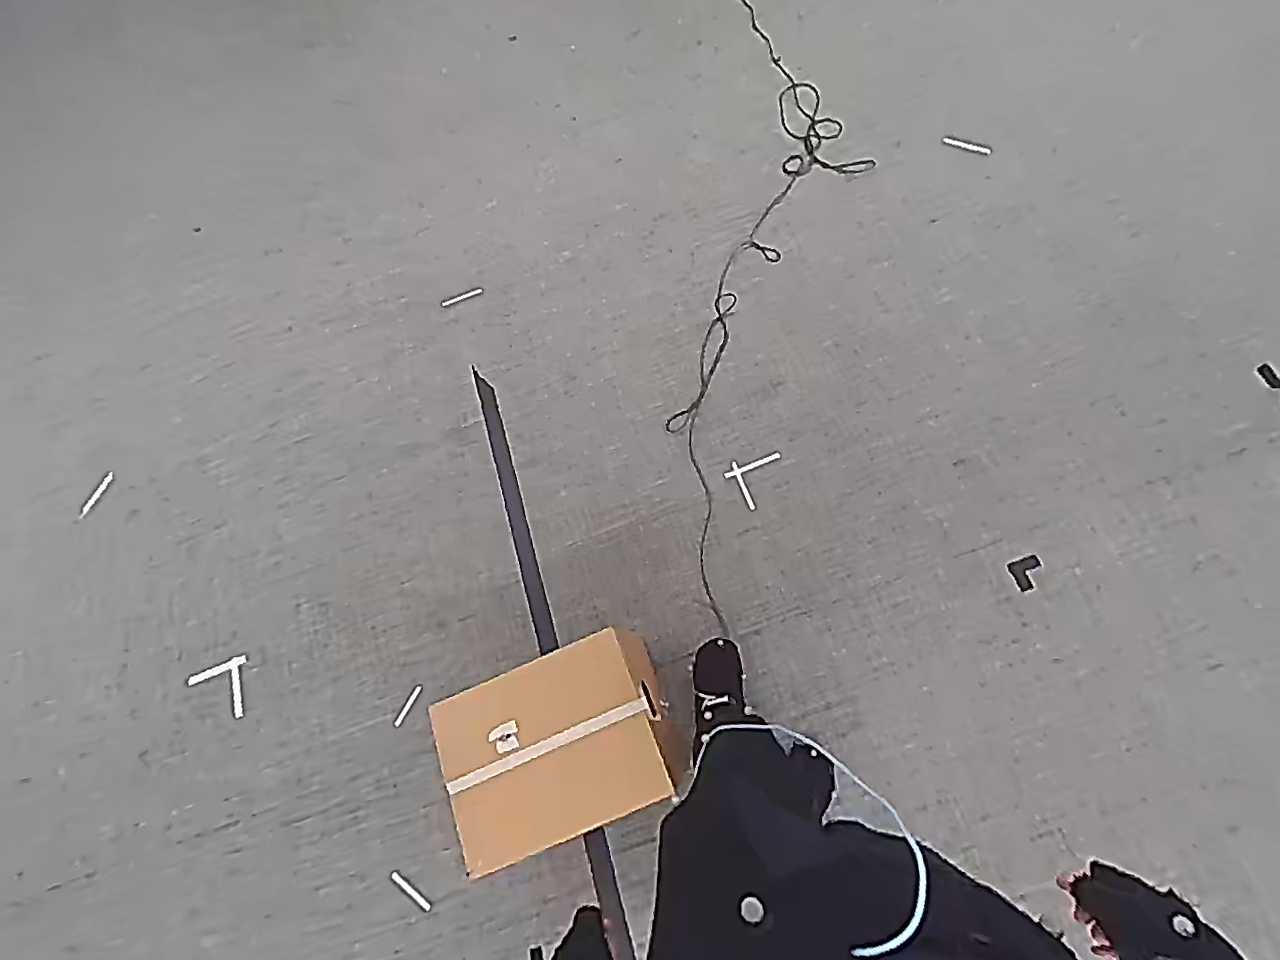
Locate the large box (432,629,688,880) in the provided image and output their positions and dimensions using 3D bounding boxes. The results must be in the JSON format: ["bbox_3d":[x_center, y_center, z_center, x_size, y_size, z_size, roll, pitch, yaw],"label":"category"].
[{"bbox_3d":[-0.150,0.548,1.151,0.408,0.320,0.320,-25,68,2],"label":"large box"}]
